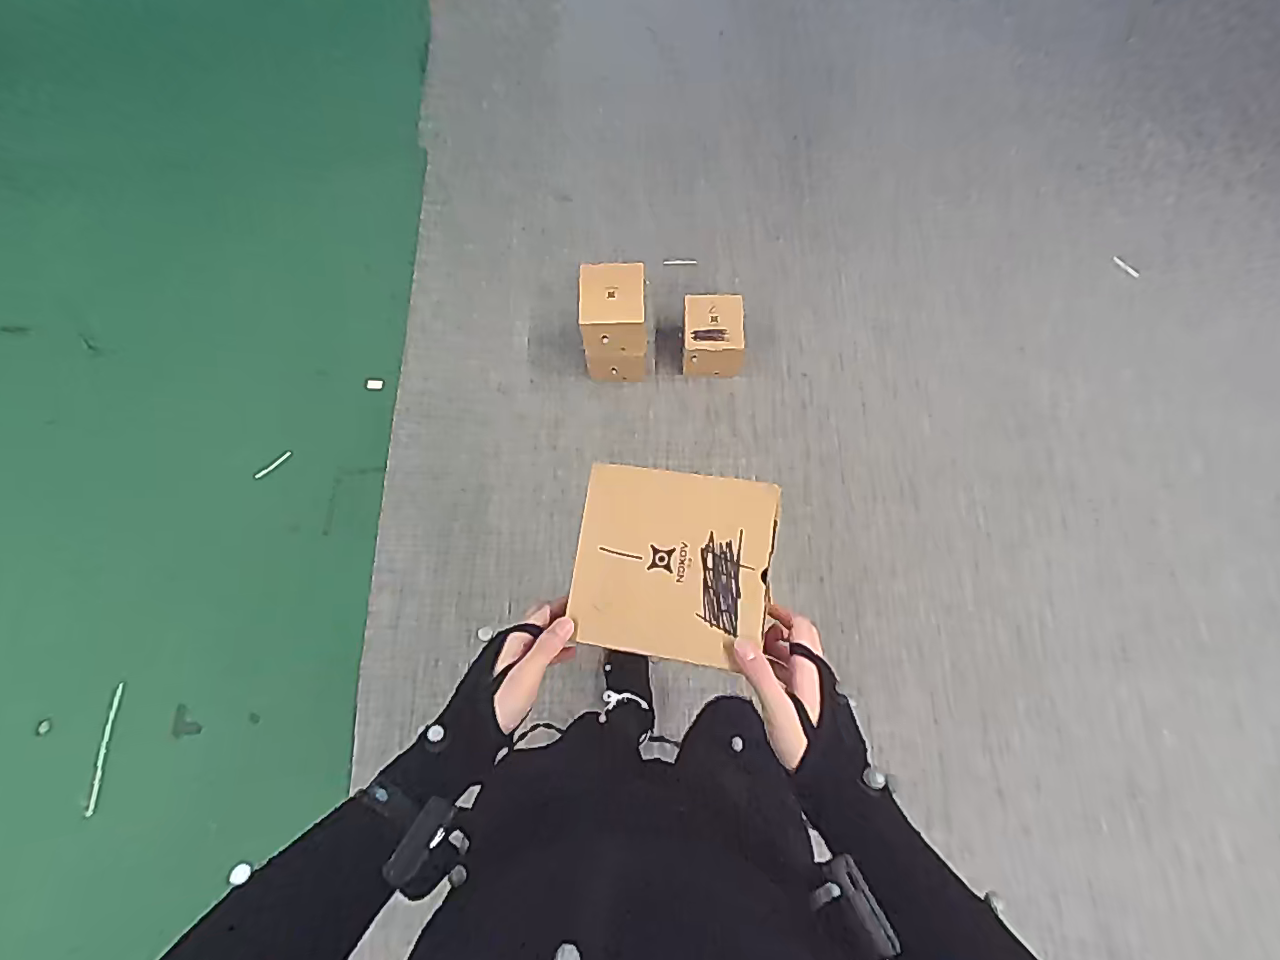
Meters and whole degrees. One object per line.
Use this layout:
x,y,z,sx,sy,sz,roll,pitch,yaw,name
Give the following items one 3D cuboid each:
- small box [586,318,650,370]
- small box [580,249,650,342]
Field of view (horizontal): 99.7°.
-0.059,-0.434,1.569,0.168,0.176,0.179,3,75,1,small box
-0.060,-0.475,1.412,0.168,0.176,0.179,0,75,2,small box
